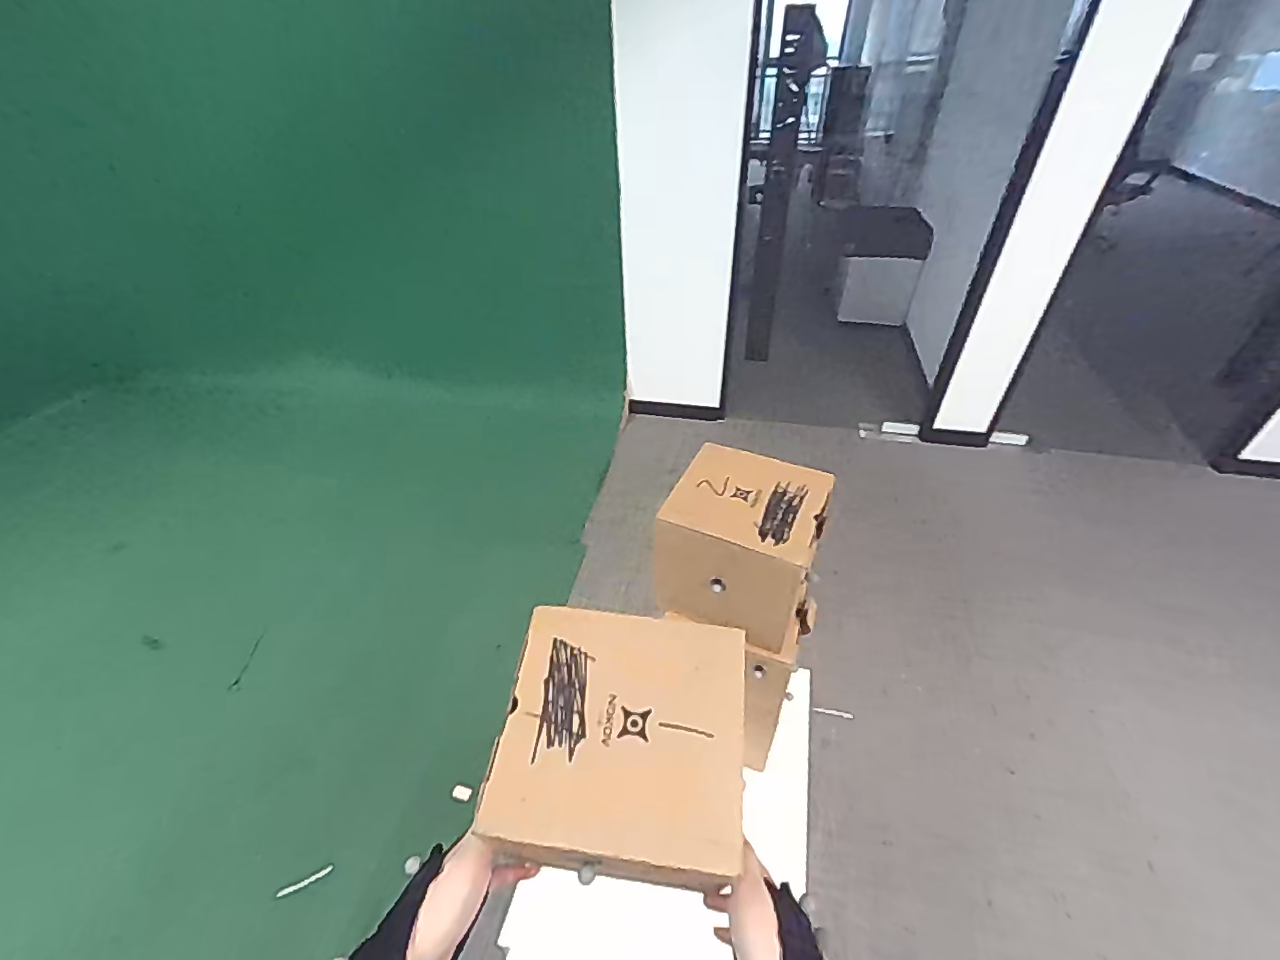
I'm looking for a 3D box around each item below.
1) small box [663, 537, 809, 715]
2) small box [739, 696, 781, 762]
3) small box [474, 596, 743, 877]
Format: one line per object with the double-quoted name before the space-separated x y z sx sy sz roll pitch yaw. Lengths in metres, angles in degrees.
"small box" 0.137 0.214 0.796 0.179 0.176 0.168 13 43 16
"small box" 0.145 0.337 0.903 0.179 0.176 0.168 13 43 17
"small box" -0.013 0.219 0.457 0.179 0.176 0.168 6 50 5
